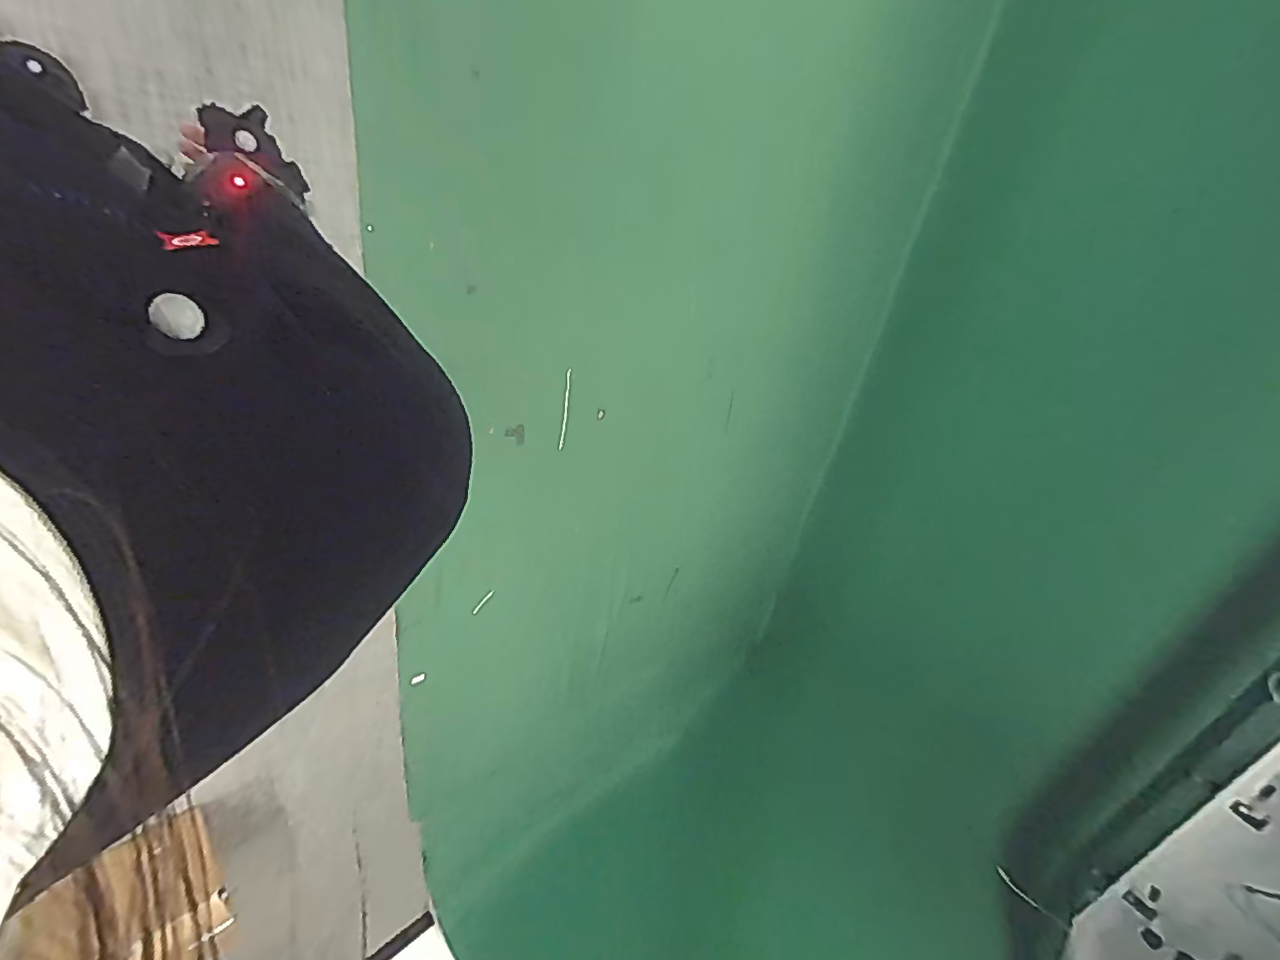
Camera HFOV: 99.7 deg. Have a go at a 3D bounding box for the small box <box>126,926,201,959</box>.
[{"bbox_3d":[-1.276,1.349,1.424,0.179,0.176,0.168,-20,125,-39],"label":"small box"}]
